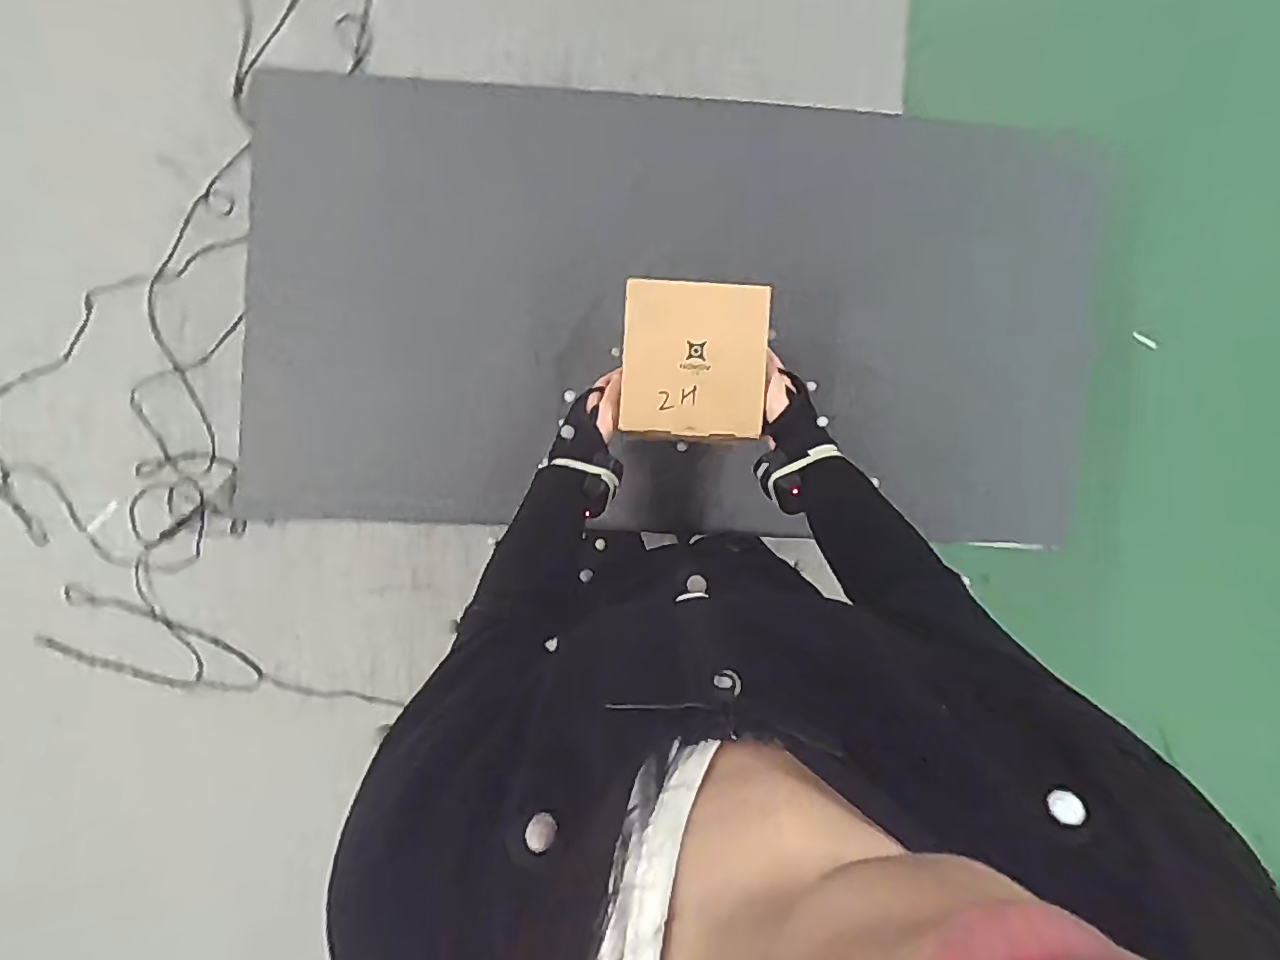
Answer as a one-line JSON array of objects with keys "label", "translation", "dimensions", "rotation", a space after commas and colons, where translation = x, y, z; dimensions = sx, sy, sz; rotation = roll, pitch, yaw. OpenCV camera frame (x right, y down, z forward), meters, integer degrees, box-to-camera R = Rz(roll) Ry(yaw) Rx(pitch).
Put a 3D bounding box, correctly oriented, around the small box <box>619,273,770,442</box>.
[{"label": "small box", "translation": [0.061, -0.144, 0.692], "dimensions": [0.168, 0.176, 0.179], "rotation": [3, 91, 0]}]
